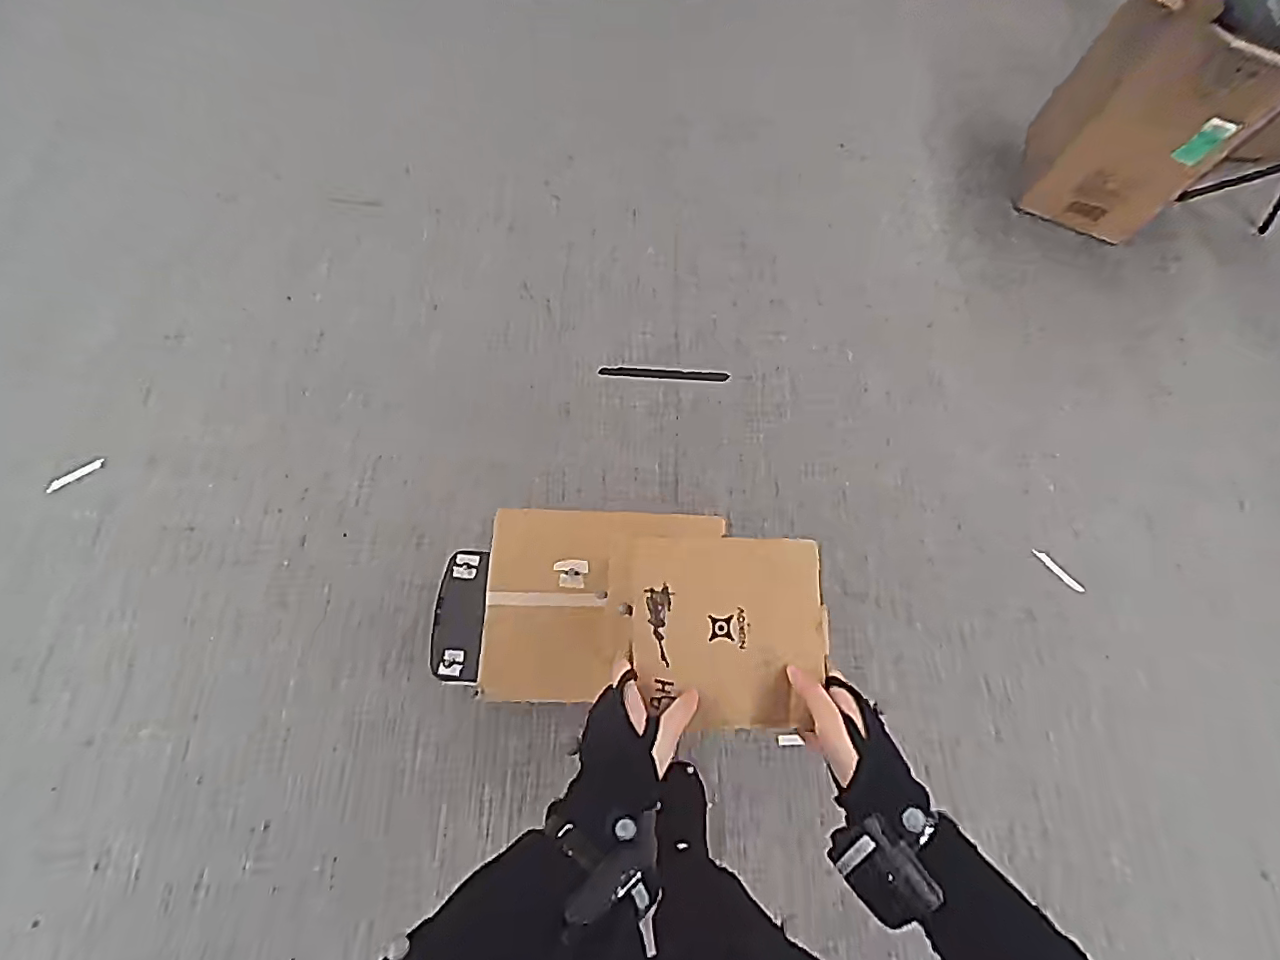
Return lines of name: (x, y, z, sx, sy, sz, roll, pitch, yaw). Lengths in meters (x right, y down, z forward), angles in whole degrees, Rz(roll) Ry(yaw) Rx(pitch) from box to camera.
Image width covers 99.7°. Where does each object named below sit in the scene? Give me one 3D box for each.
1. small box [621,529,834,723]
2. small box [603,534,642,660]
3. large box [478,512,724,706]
small box: (0.075, 0.147, 0.556, 0.179, 0.176, 0.168, 2, 75, -6)
small box: (0.040, 0.184, 0.799, 0.179, 0.176, 0.168, 4, 70, -3)
large box: (-0.059, 0.253, 1.028, 0.408, 0.320, 0.320, 2, 69, -3)
